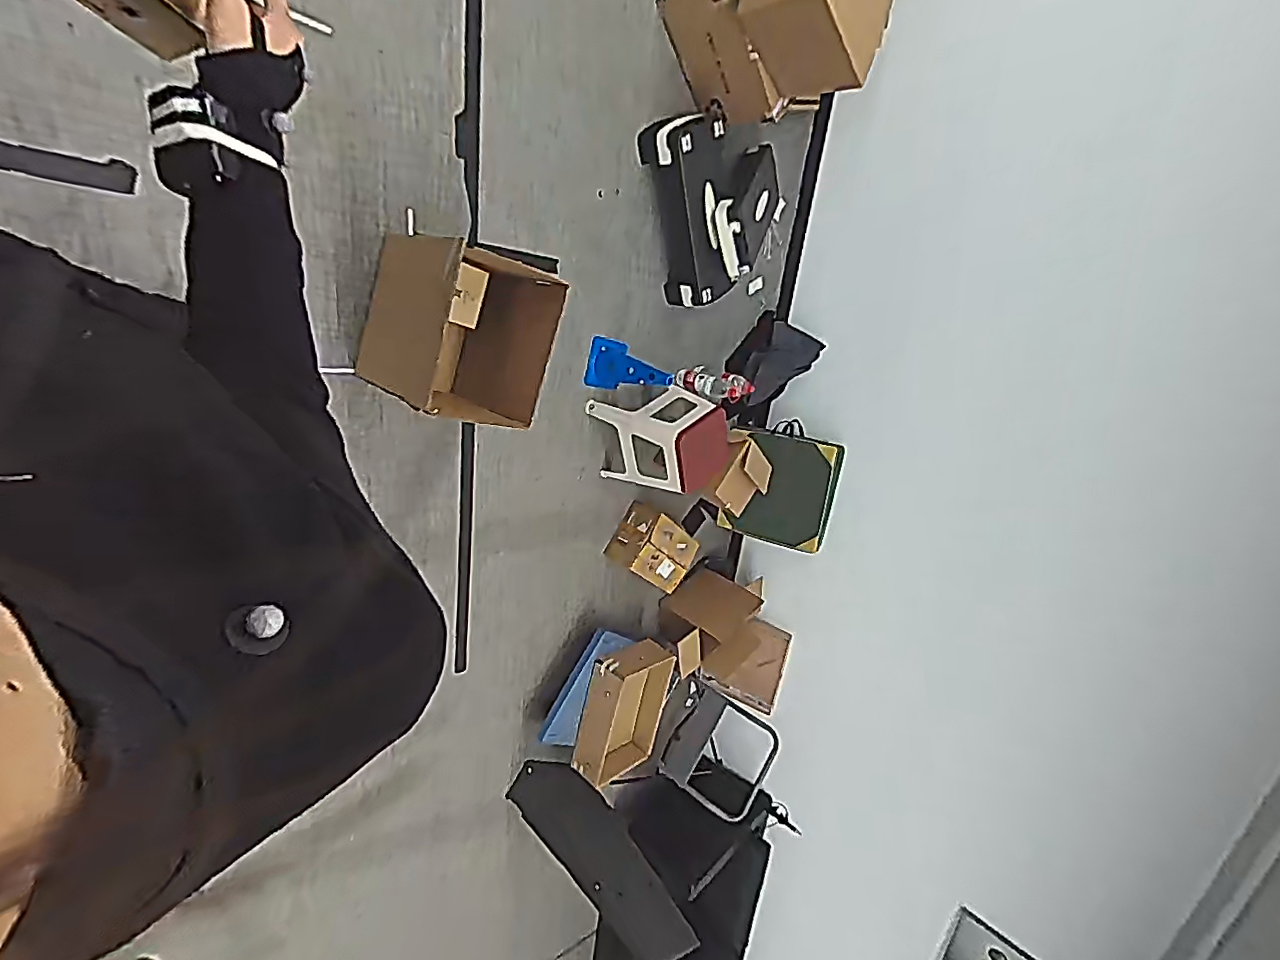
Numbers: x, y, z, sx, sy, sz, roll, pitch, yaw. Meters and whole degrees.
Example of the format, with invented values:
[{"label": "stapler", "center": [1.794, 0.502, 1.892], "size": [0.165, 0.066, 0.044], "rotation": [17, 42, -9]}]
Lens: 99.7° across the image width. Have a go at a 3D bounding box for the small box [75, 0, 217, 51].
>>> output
[{"label": "small box", "center": [-0.444, -0.500, 0.442], "size": [0.168, 0.176, 0.179], "rotation": [25, 89, -56]}]
